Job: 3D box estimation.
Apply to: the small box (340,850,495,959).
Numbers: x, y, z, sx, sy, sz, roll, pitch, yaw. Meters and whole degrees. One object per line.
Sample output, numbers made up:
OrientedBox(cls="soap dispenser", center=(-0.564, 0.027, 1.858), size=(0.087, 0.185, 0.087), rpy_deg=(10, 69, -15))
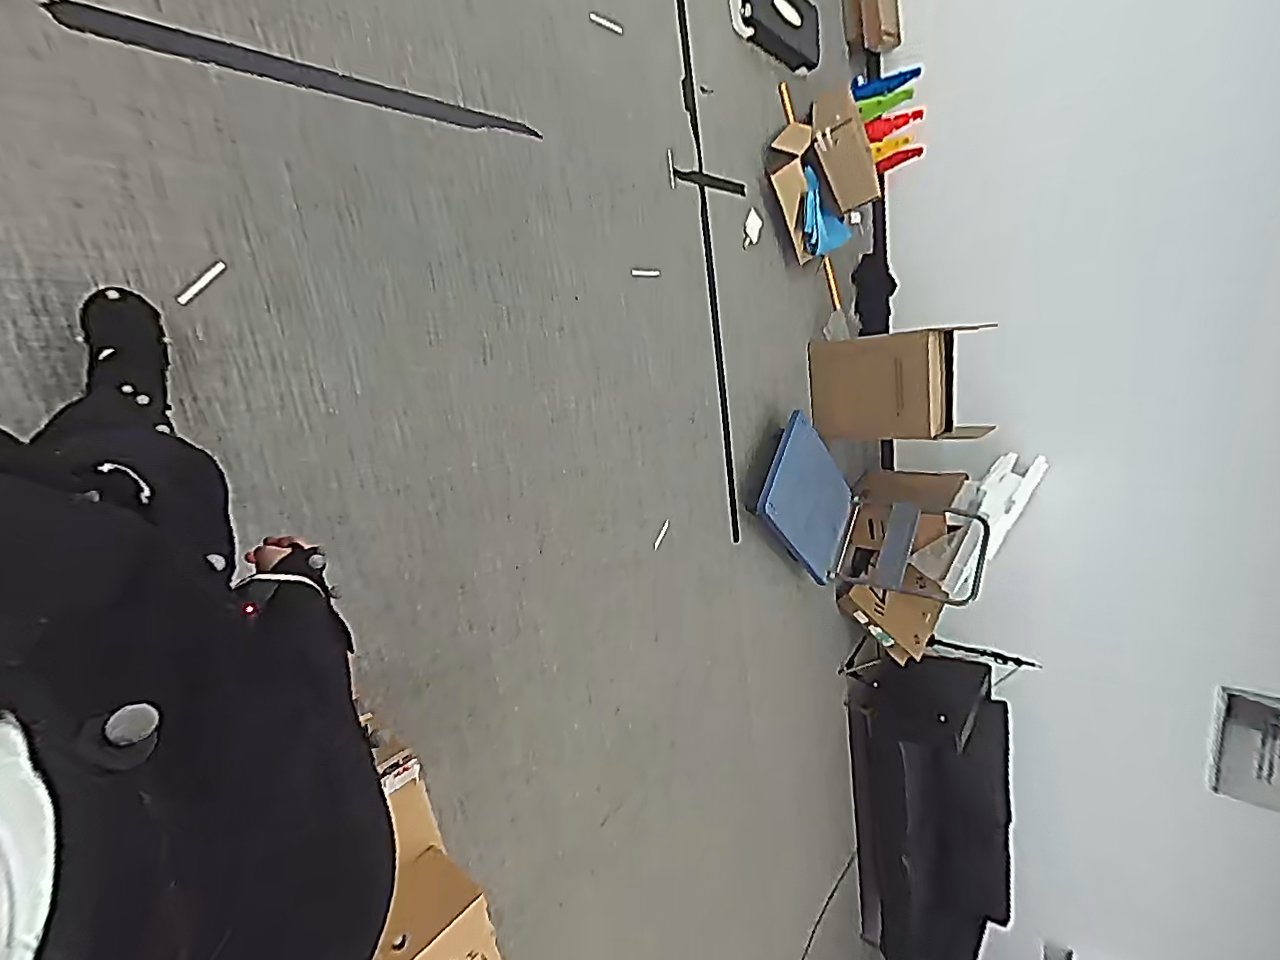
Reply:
OrientedBox(cls="small box", center=(-0.374, 0.779, 0.903), size=(0.179, 0.176, 0.168), rpy_deg=(-22, 108, -47))
